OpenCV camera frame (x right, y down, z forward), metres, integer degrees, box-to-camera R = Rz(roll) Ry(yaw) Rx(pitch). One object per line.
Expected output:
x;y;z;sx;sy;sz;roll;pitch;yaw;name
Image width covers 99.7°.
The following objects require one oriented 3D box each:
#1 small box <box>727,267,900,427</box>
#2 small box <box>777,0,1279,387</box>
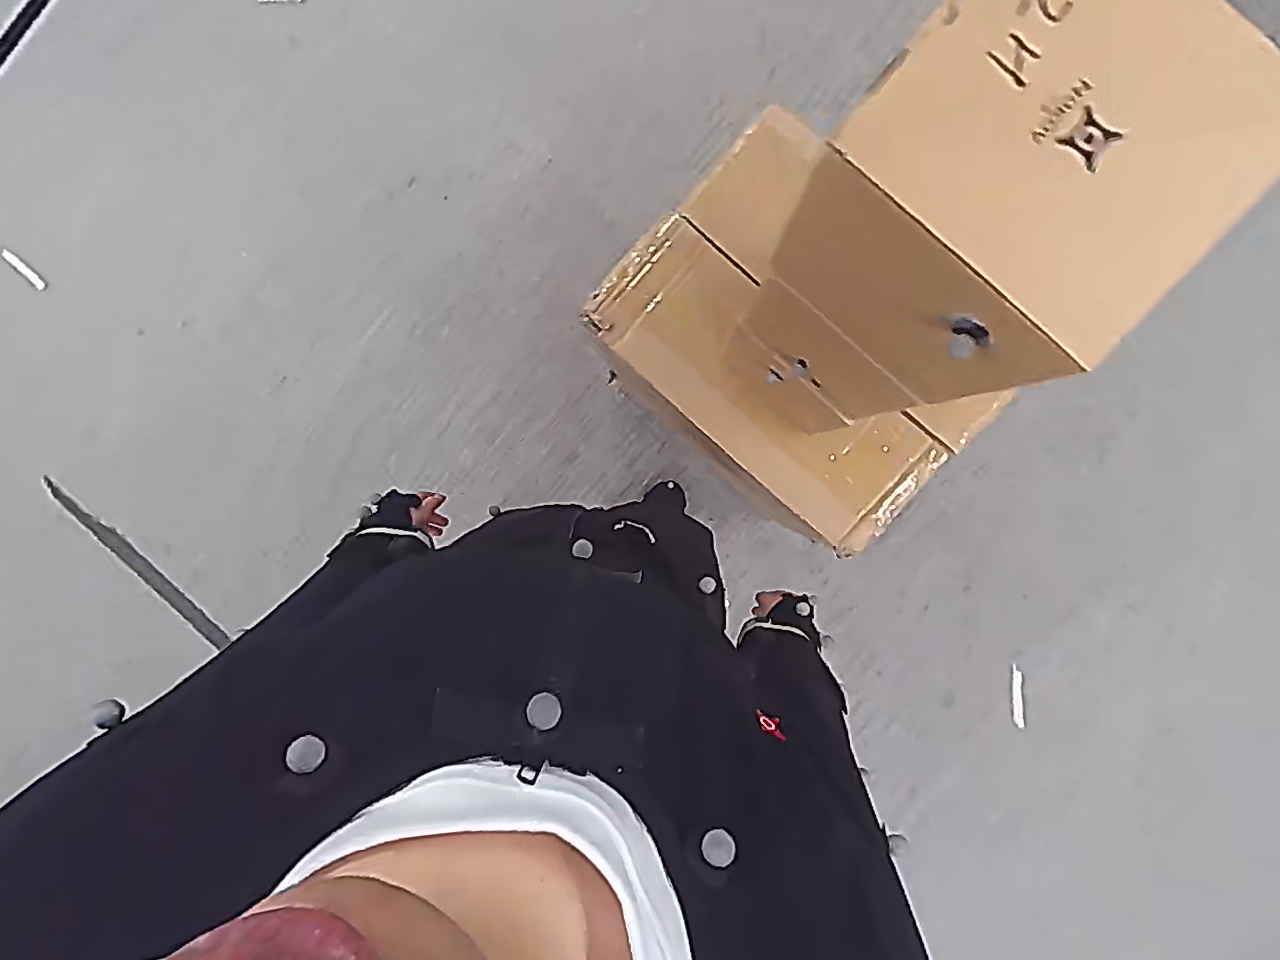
0.226;-0.179;0.668;0.179;0.176;0.168;43;93;1;small box
0.214;-0.175;0.339;0.179;0.176;0.168;43;93;1;small box
